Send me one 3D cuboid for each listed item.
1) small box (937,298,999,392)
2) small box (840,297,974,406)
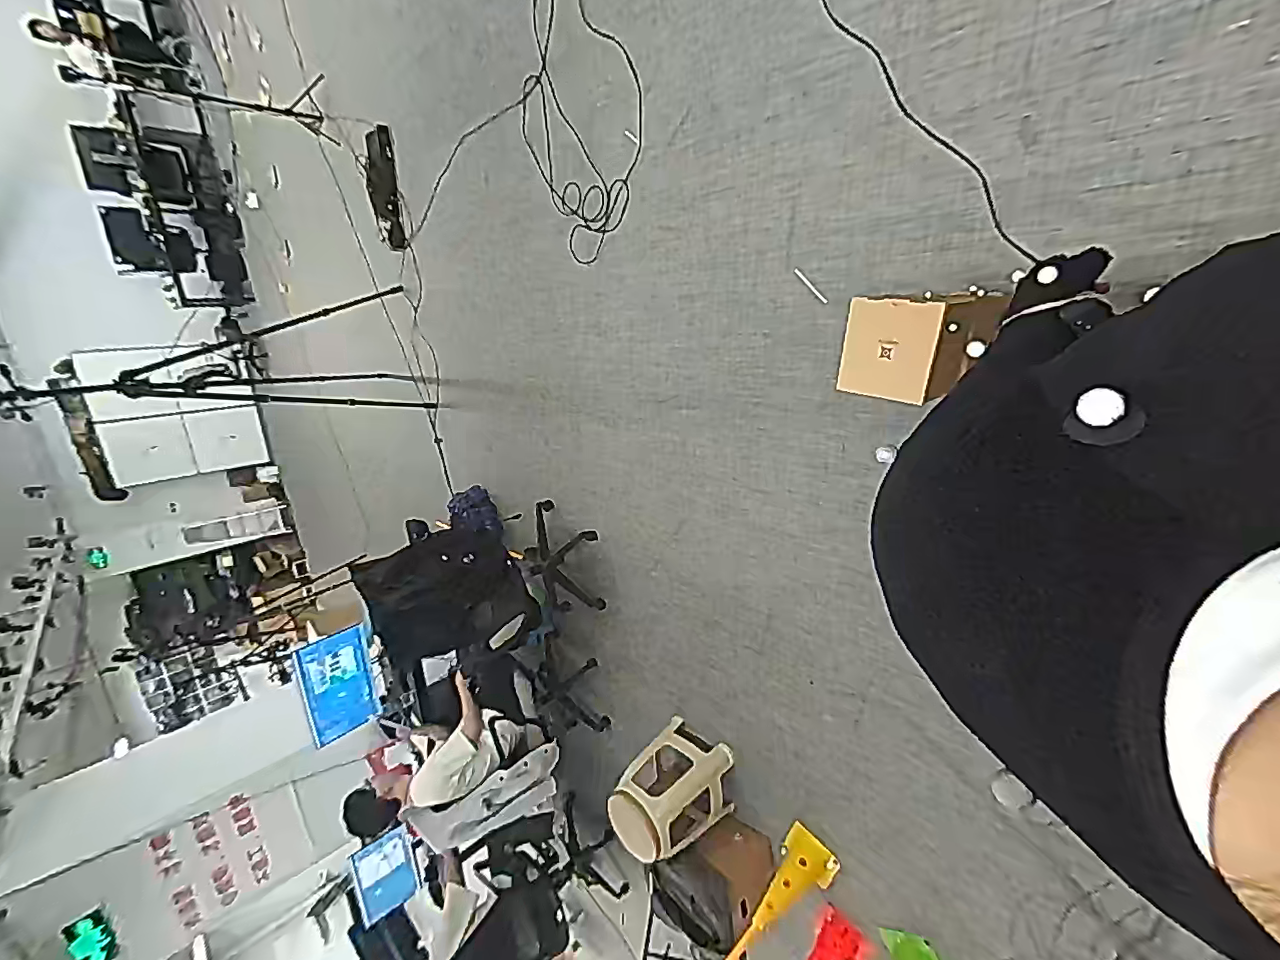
[{"bbox_3d":[0.633,-0.290,1.137,0.168,0.176,0.179,16,117,43],"label":"small box"},{"bbox_3d":[0.511,-0.254,1.036,0.168,0.176,0.179,22,119,41],"label":"small box"}]
